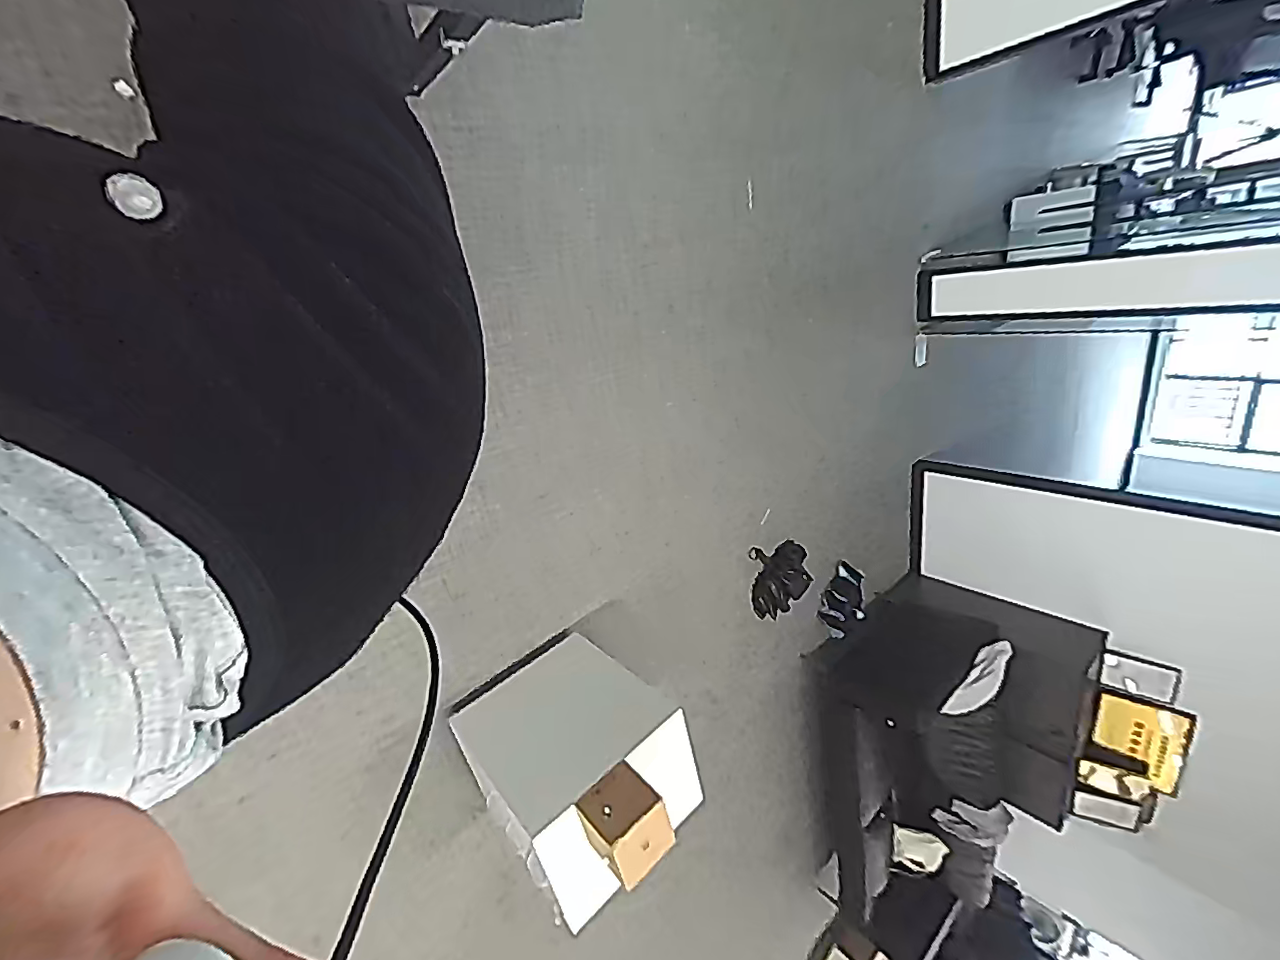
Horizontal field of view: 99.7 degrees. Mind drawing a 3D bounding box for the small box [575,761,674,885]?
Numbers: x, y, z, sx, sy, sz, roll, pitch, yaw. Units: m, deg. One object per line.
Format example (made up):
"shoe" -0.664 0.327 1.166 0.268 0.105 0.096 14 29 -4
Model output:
"small box" -0.042 0.853 1.369 0.168 0.176 0.179 -30 121 -30
